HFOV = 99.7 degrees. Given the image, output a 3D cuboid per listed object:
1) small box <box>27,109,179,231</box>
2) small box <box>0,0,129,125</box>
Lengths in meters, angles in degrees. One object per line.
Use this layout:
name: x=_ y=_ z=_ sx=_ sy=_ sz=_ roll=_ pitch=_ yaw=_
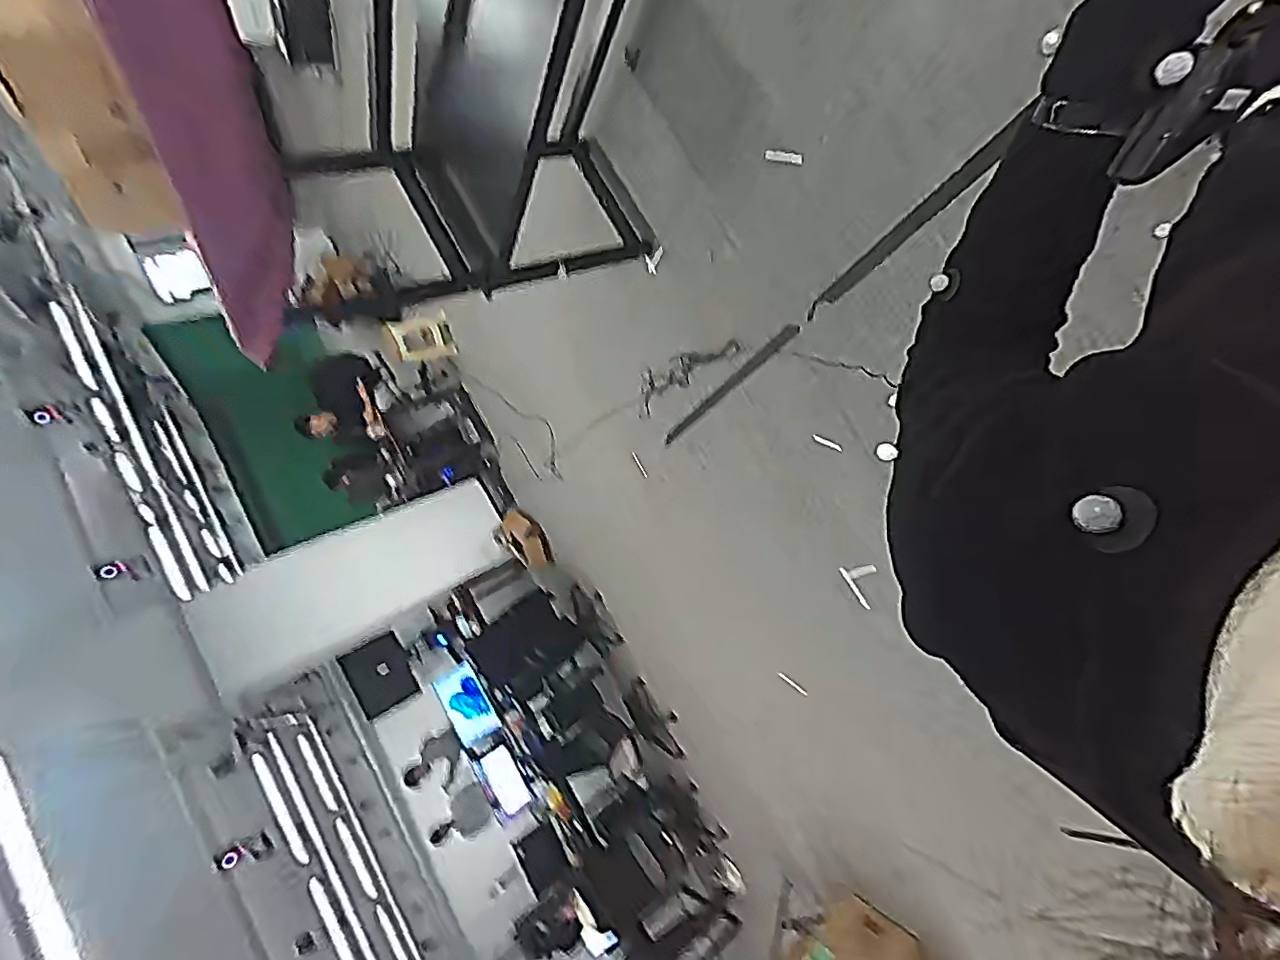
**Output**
small box: x=-1.117 y=-0.658 z=1.129 sx=0.168 sy=0.176 sz=0.179 roll=60 pitch=150 yaw=9
small box: x=-0.999 y=-0.729 z=0.893 sx=0.179 sy=0.176 sz=0.168 roll=59 pitch=149 yaw=11
